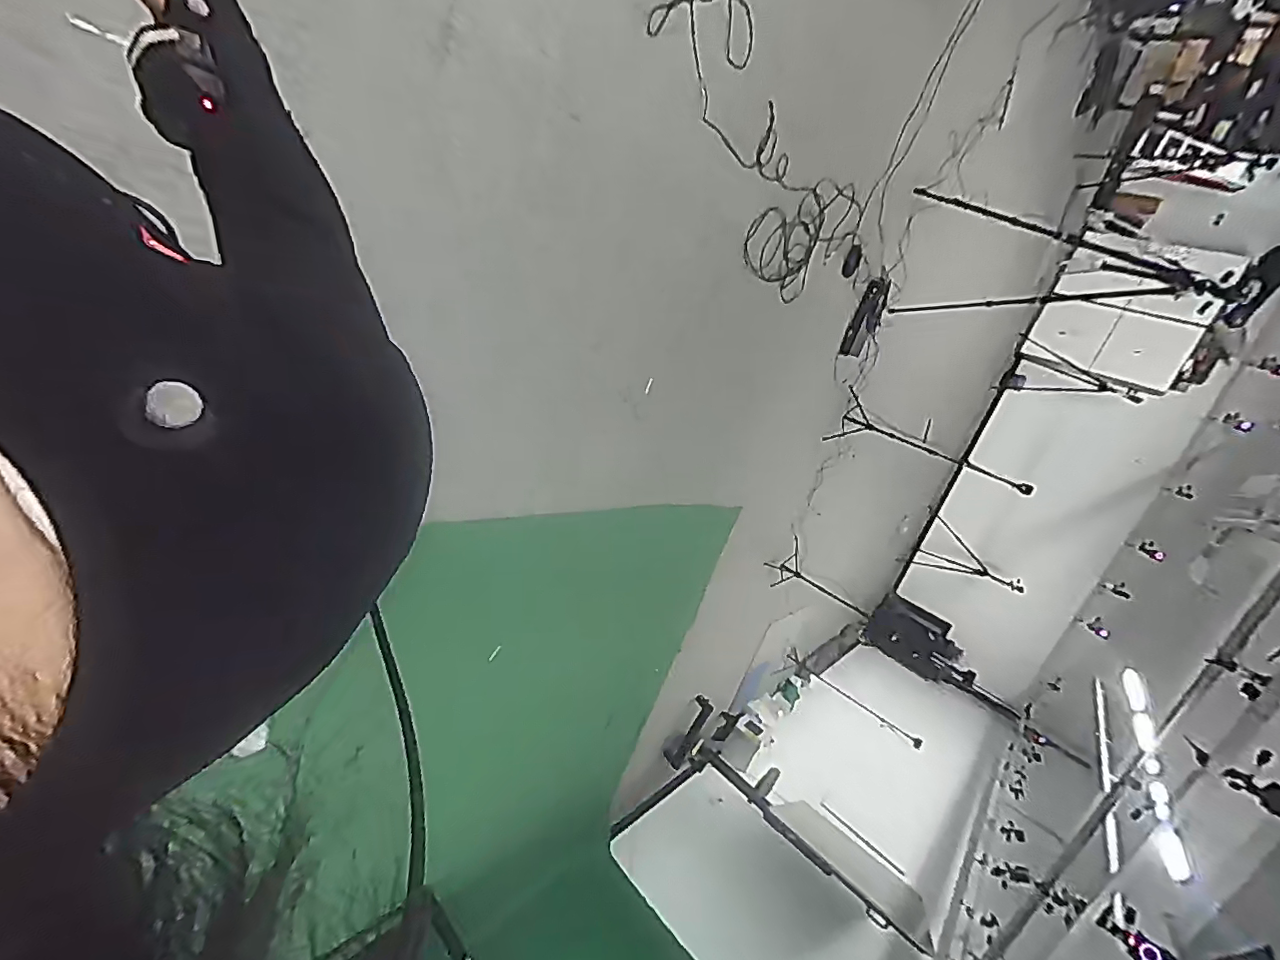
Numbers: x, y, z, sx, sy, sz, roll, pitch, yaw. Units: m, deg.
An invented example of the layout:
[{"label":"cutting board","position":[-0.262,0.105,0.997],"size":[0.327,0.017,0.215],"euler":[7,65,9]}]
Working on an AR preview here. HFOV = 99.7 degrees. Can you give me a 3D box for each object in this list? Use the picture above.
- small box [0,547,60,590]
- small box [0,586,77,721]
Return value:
[{"label":"small box","position":[-1.234,0.236,1.024],"size":[0.168,0.176,0.179],"euler":[2,113,-51]},{"label":"small box","position":[-1.112,0.297,0.931],"size":[0.179,0.176,0.168],"euler":[4,111,-51]}]
